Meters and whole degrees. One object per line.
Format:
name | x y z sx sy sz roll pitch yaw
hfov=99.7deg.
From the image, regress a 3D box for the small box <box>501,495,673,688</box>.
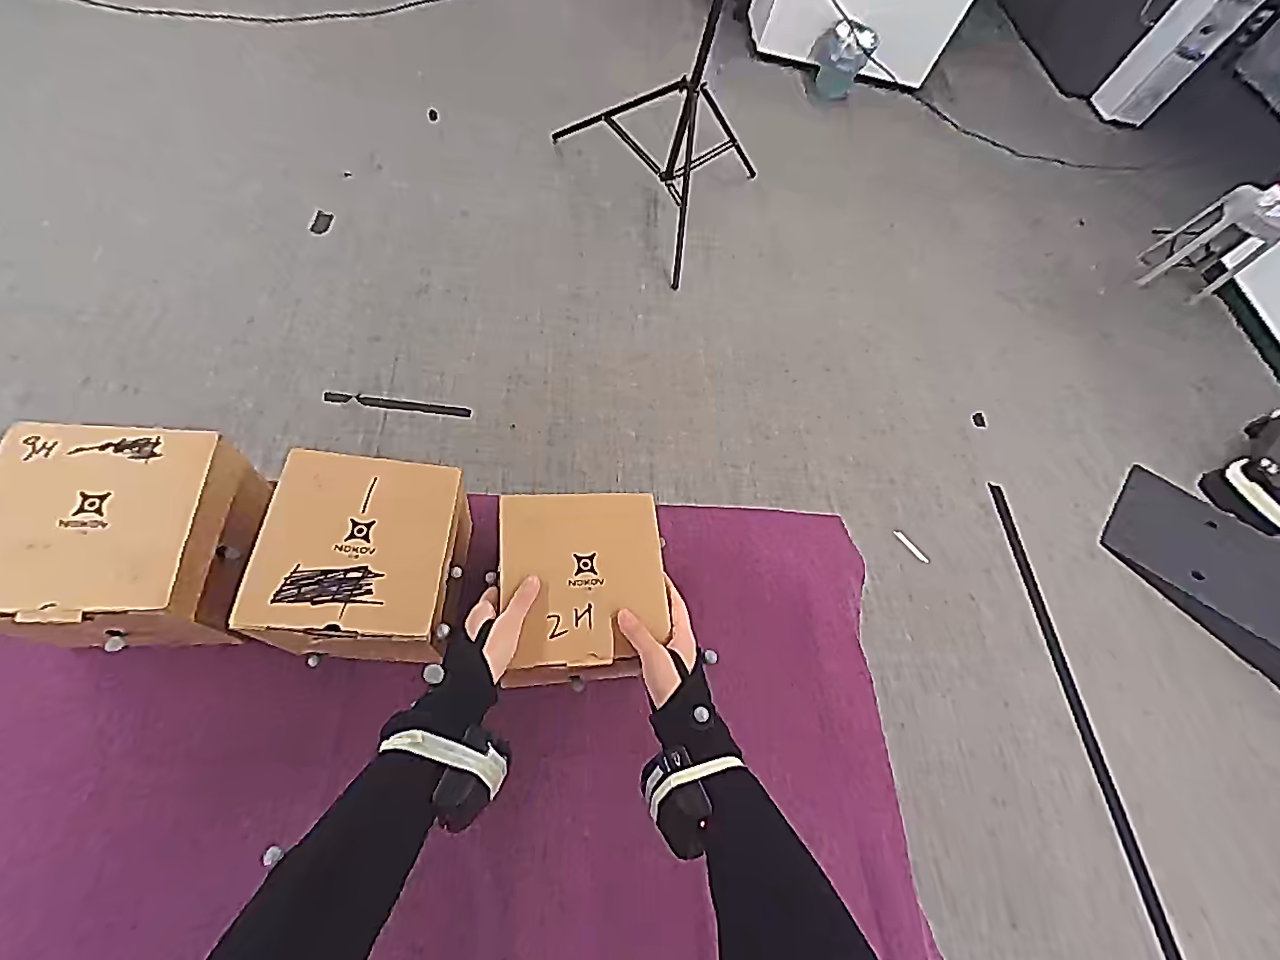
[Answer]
small box | -0.071 0.130 0.614 0.168 0.176 0.179 0 64 -13
